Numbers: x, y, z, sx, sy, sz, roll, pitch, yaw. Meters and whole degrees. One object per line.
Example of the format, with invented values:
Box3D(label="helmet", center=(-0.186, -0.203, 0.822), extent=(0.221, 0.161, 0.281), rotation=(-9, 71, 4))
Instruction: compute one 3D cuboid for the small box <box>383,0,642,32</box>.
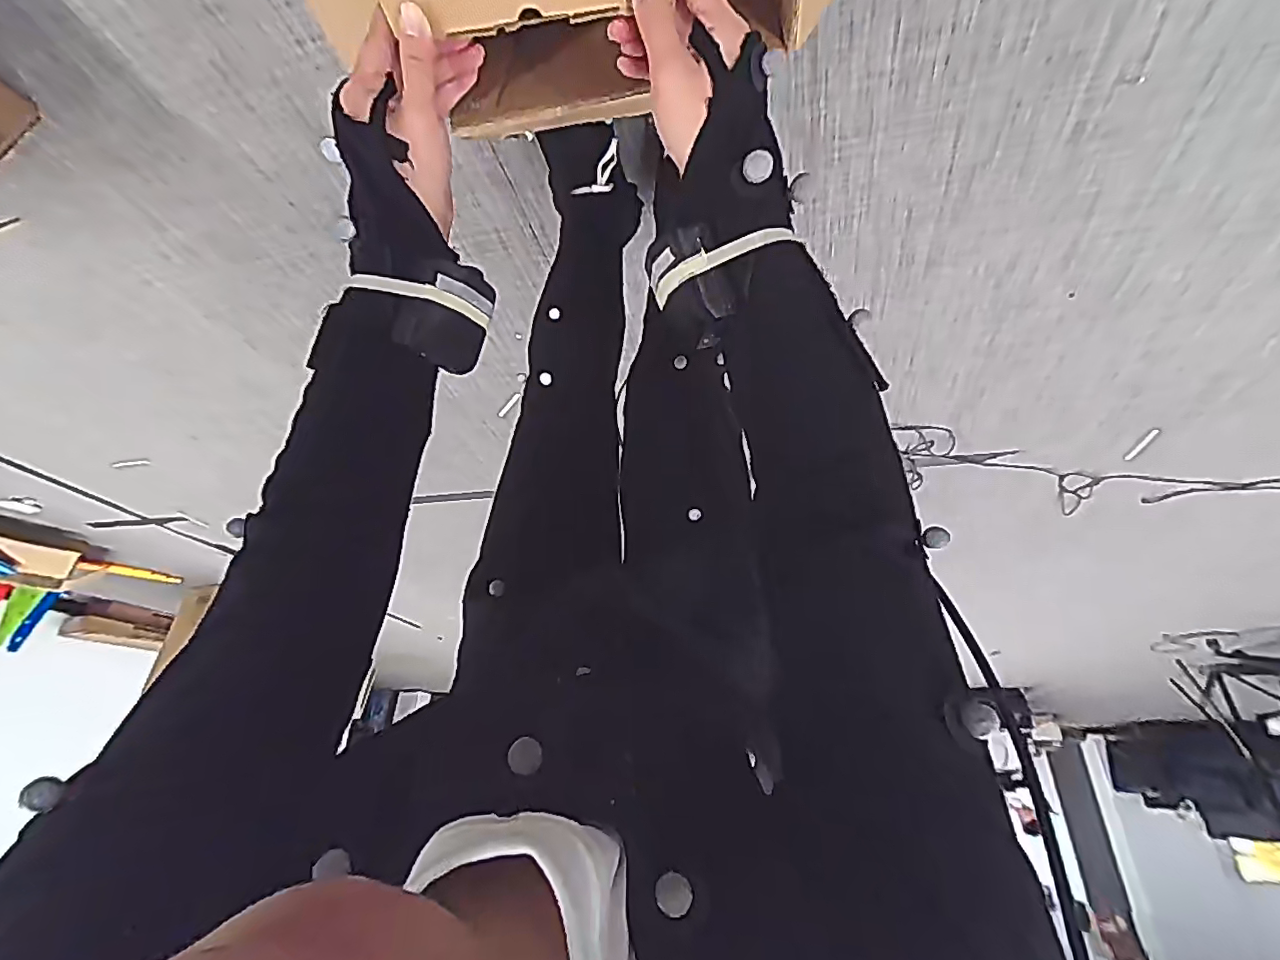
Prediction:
Box3D(label="small box", center=(-0.068, -0.379, 0.283), extent=(0.168, 0.176, 0.179), rotation=(-2, 143, 8))
